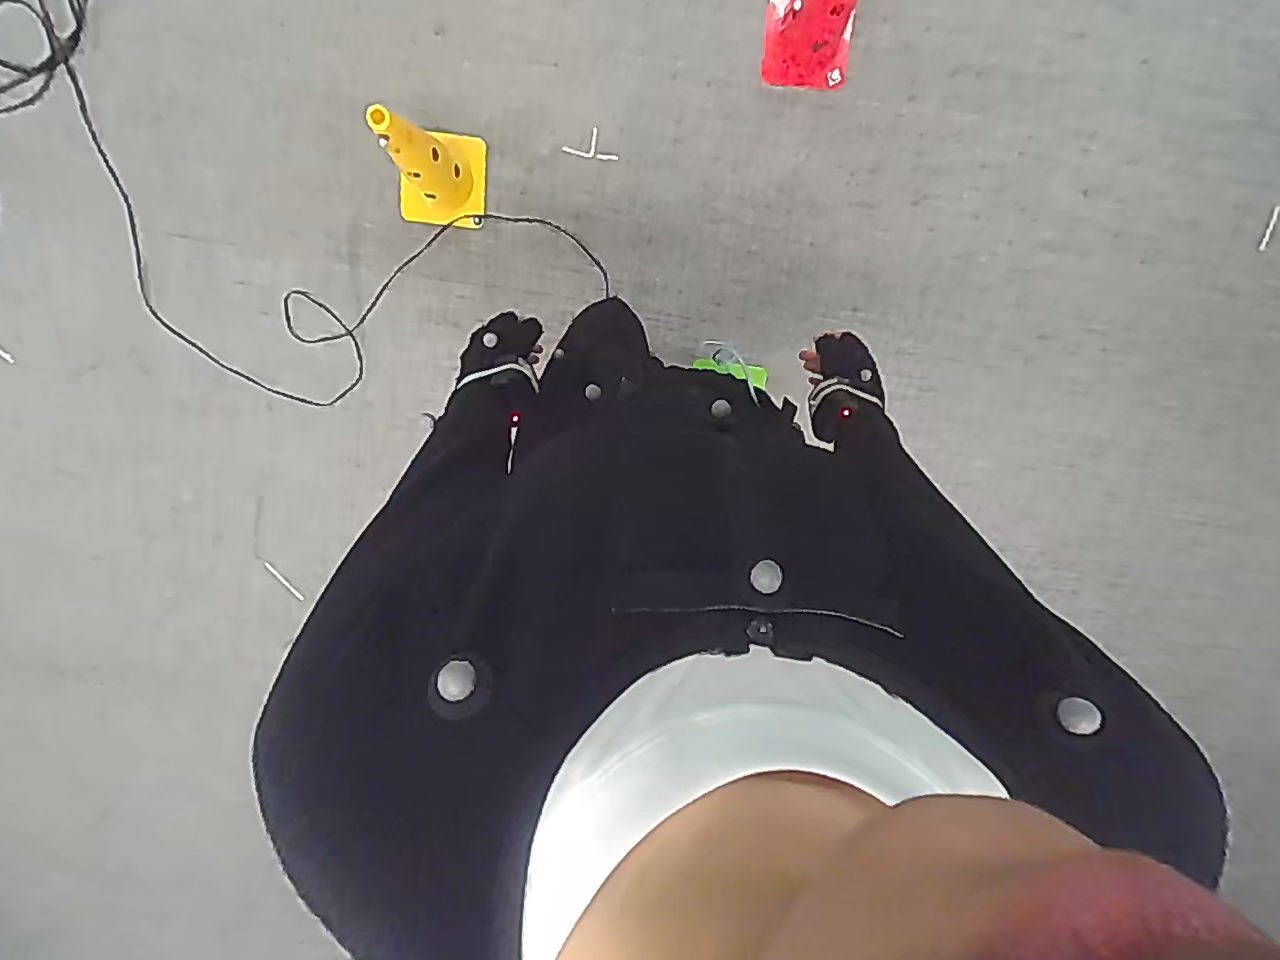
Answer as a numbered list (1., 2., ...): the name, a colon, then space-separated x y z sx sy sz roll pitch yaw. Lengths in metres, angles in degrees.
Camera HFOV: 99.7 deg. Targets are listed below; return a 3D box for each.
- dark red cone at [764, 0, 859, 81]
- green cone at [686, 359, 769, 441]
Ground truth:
1. dark red cone: 0.390 -0.979 1.057 0.202 0.394 0.201 3 102 -2
2. green cone: 0.233 -0.174 1.269 0.202 0.368 0.200 7 102 -2
